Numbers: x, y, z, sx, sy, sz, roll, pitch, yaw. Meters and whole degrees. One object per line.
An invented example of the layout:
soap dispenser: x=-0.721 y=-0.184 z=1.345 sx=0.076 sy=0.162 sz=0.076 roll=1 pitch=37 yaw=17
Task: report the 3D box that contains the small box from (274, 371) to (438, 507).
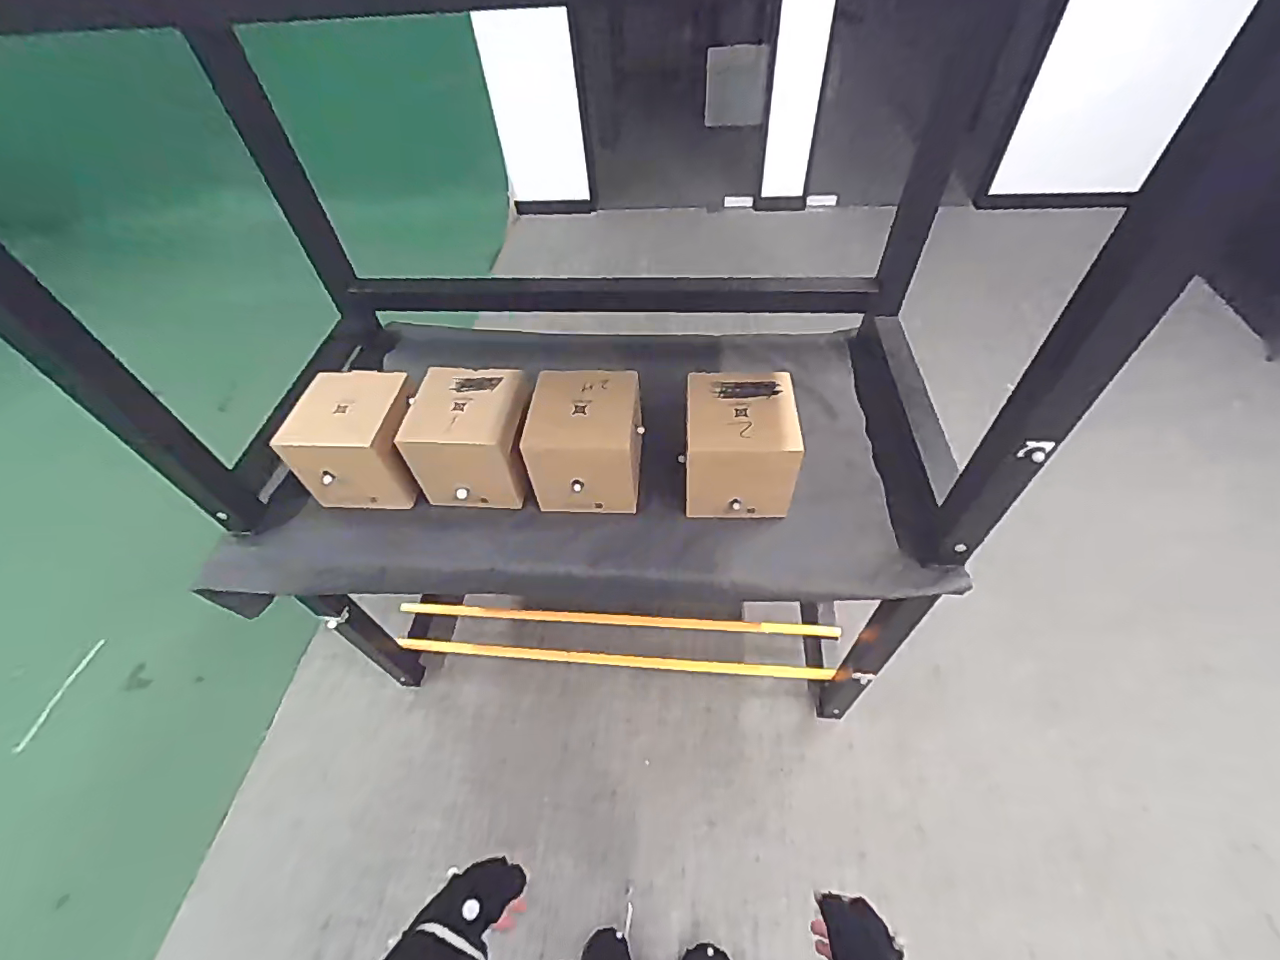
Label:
small box: x=-0.474 y=-0.069 z=0.939 sx=0.168 sy=0.176 sz=0.179 roll=2 pitch=50 yaw=5
